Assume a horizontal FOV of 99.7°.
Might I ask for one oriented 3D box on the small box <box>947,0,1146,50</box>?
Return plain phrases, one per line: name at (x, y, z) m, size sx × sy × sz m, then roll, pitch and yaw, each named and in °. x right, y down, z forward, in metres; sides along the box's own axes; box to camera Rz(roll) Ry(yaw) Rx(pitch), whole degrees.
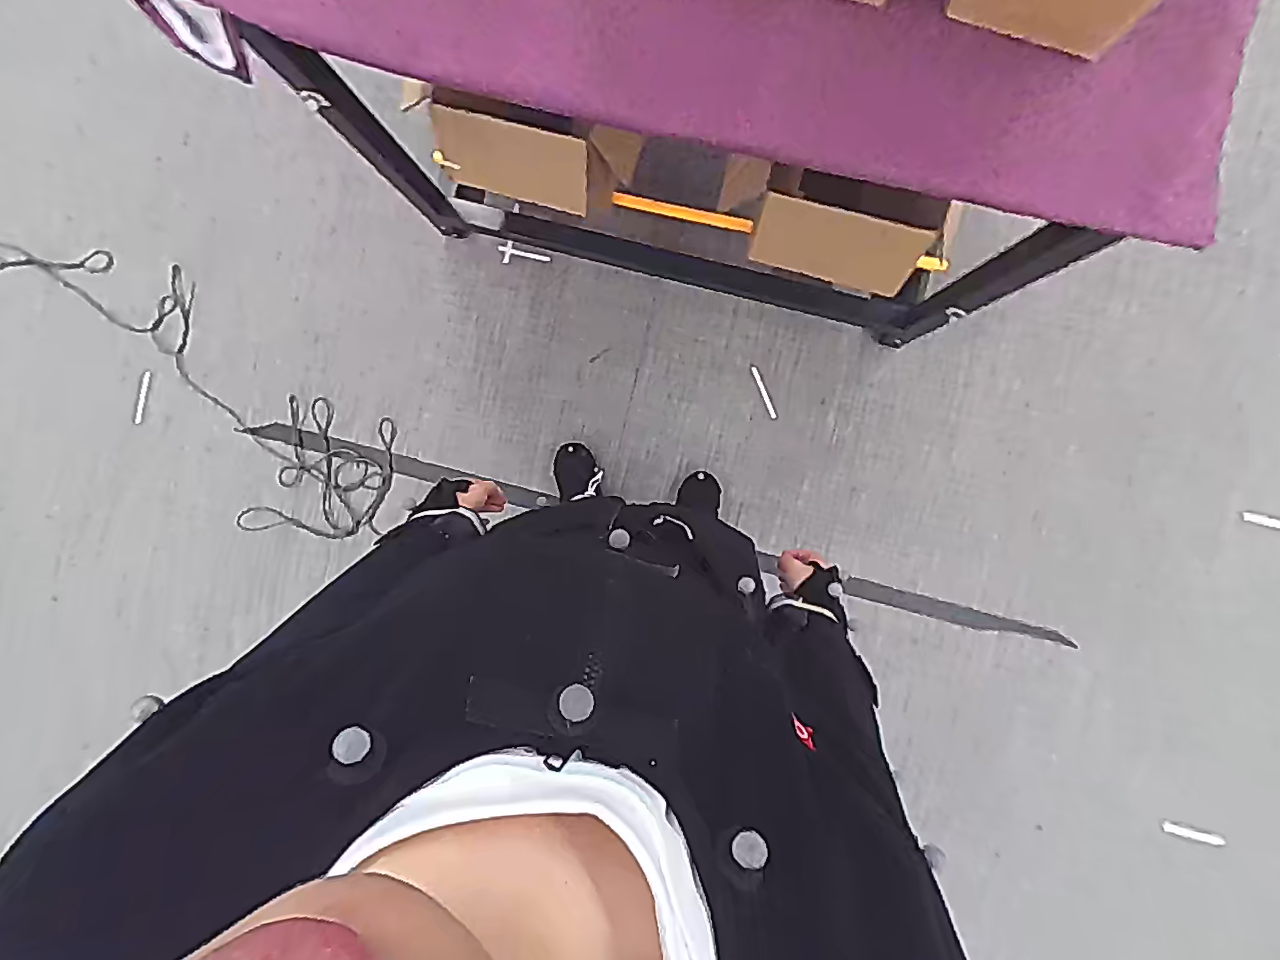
small box at (0.445, -0.571, 0.522) m, size 0.179 × 0.176 × 0.168 m, roll 19°, pitch 92°, yaw 2°
